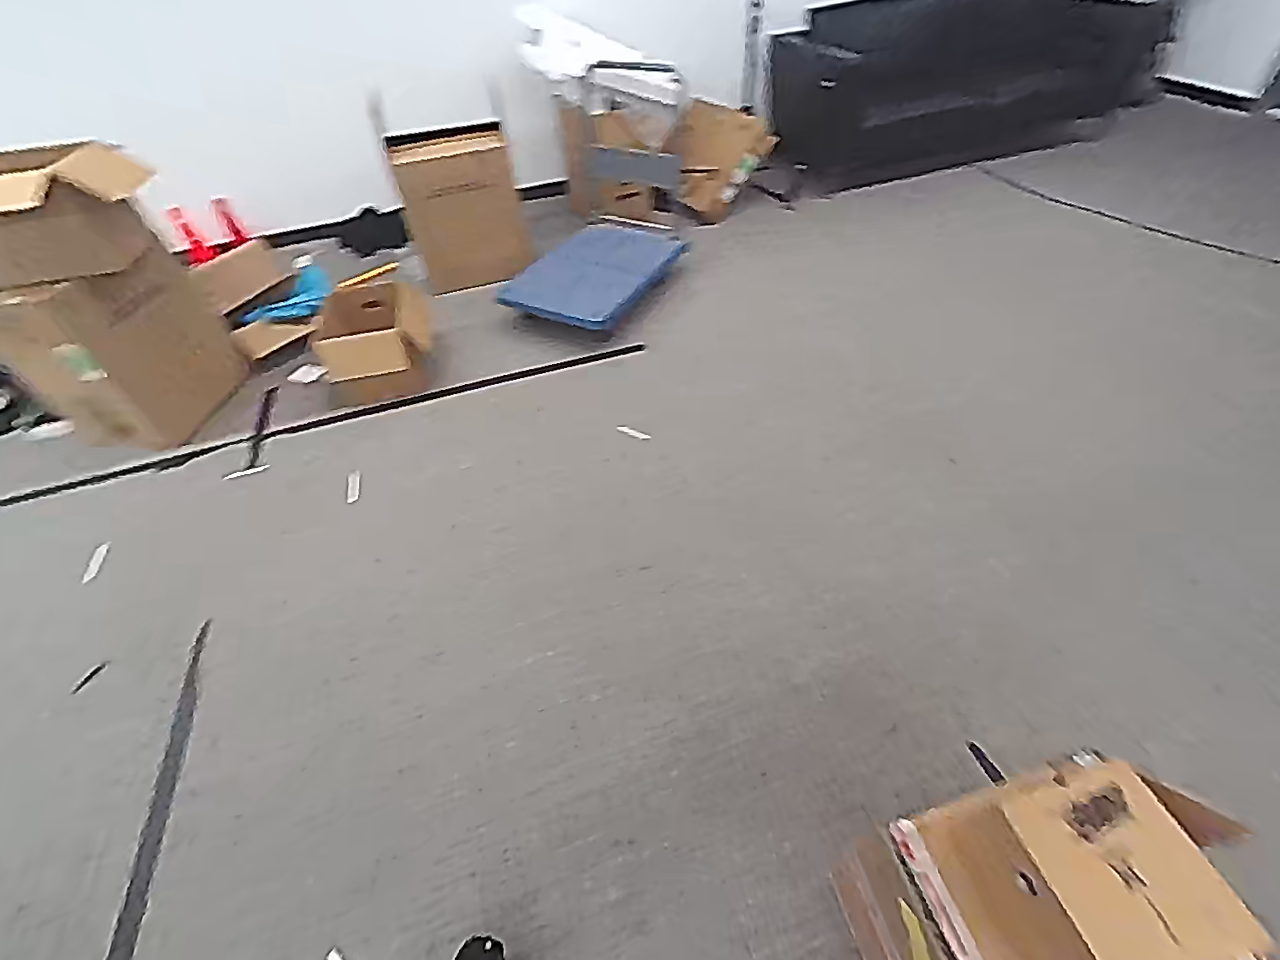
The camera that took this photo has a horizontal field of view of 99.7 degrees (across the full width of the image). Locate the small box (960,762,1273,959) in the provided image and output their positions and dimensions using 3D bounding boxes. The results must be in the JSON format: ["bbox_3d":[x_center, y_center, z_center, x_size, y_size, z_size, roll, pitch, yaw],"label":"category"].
[{"bbox_3d":[0.514,0.461,0.623,0.168,0.176,0.179,-15,48,-5],"label":"small box"}]
